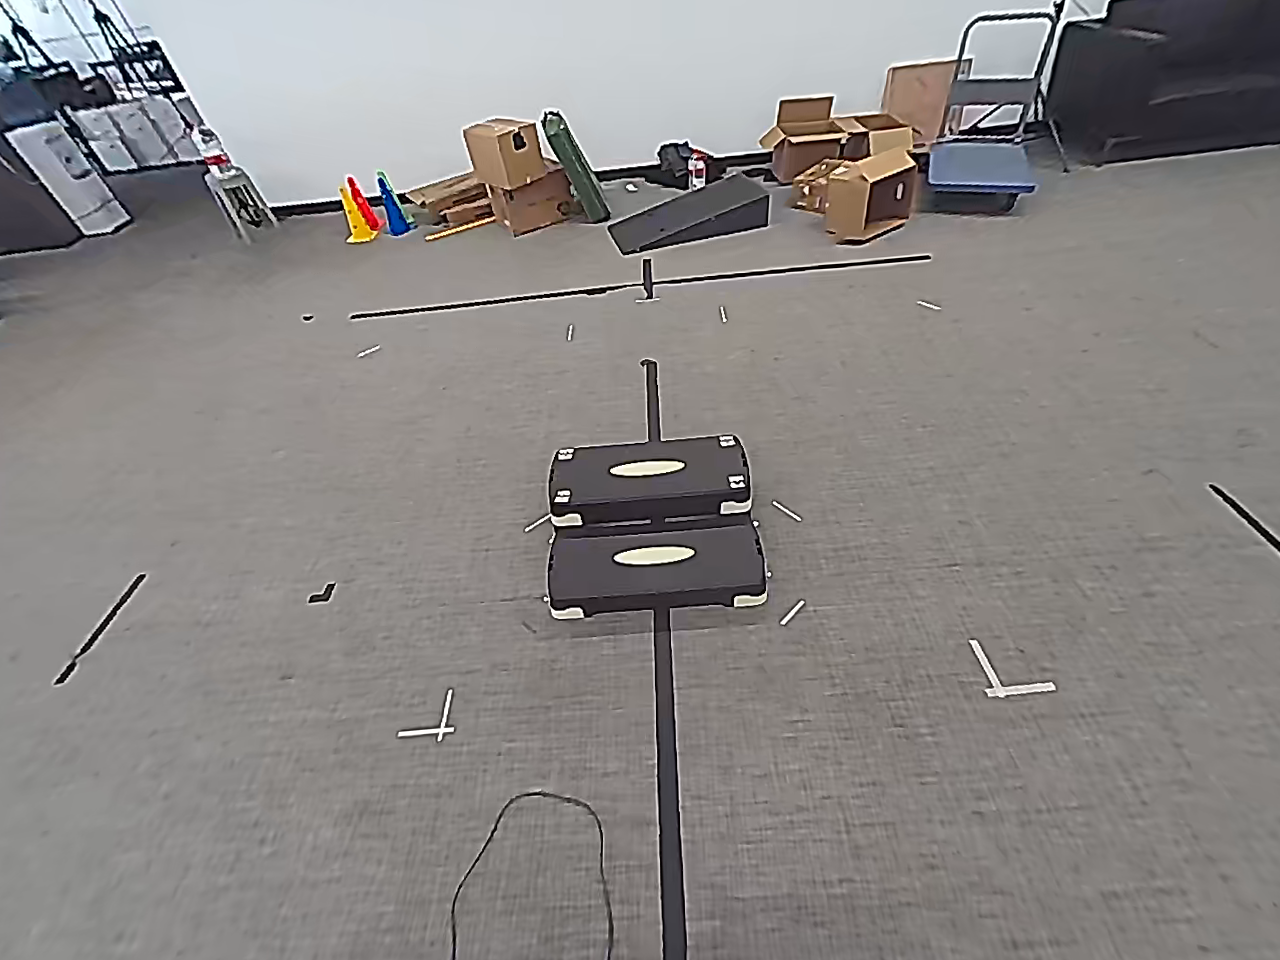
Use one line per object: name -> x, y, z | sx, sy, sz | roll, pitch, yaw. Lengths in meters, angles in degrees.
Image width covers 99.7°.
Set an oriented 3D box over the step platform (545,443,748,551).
step platform -> 0.020, 0.051, 1.851 | 0.684, 0.204, 0.286 | -5, 46, 2
